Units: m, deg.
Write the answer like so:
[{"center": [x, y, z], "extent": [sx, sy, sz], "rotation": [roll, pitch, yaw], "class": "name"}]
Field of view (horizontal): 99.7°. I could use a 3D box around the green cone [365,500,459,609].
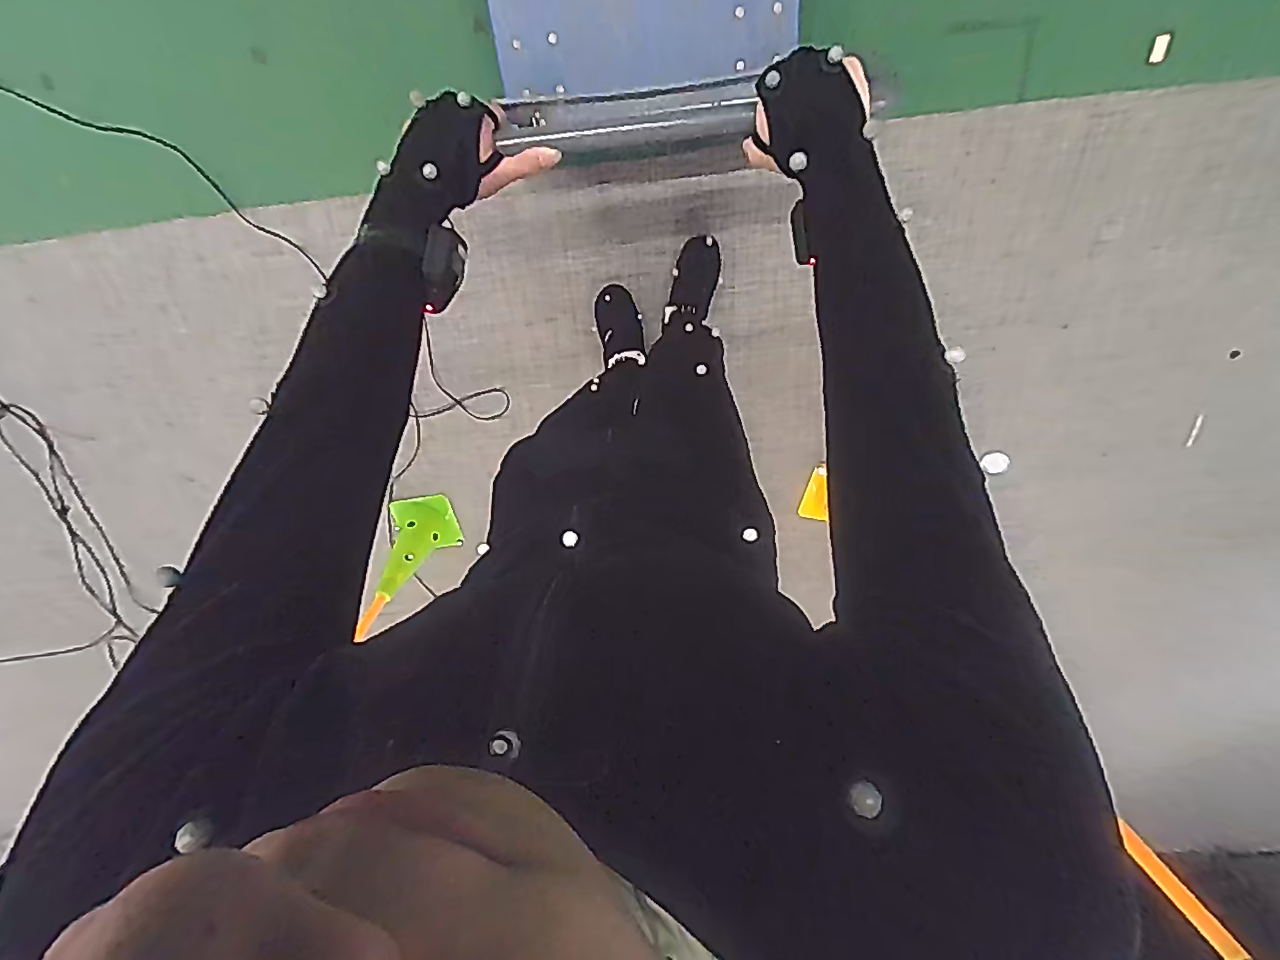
[{"center": [-0.715, 0.242, 1.615], "extent": [0.202, 0.368, 0.200], "rotation": [-8, 119, 7], "class": "green cone"}]
